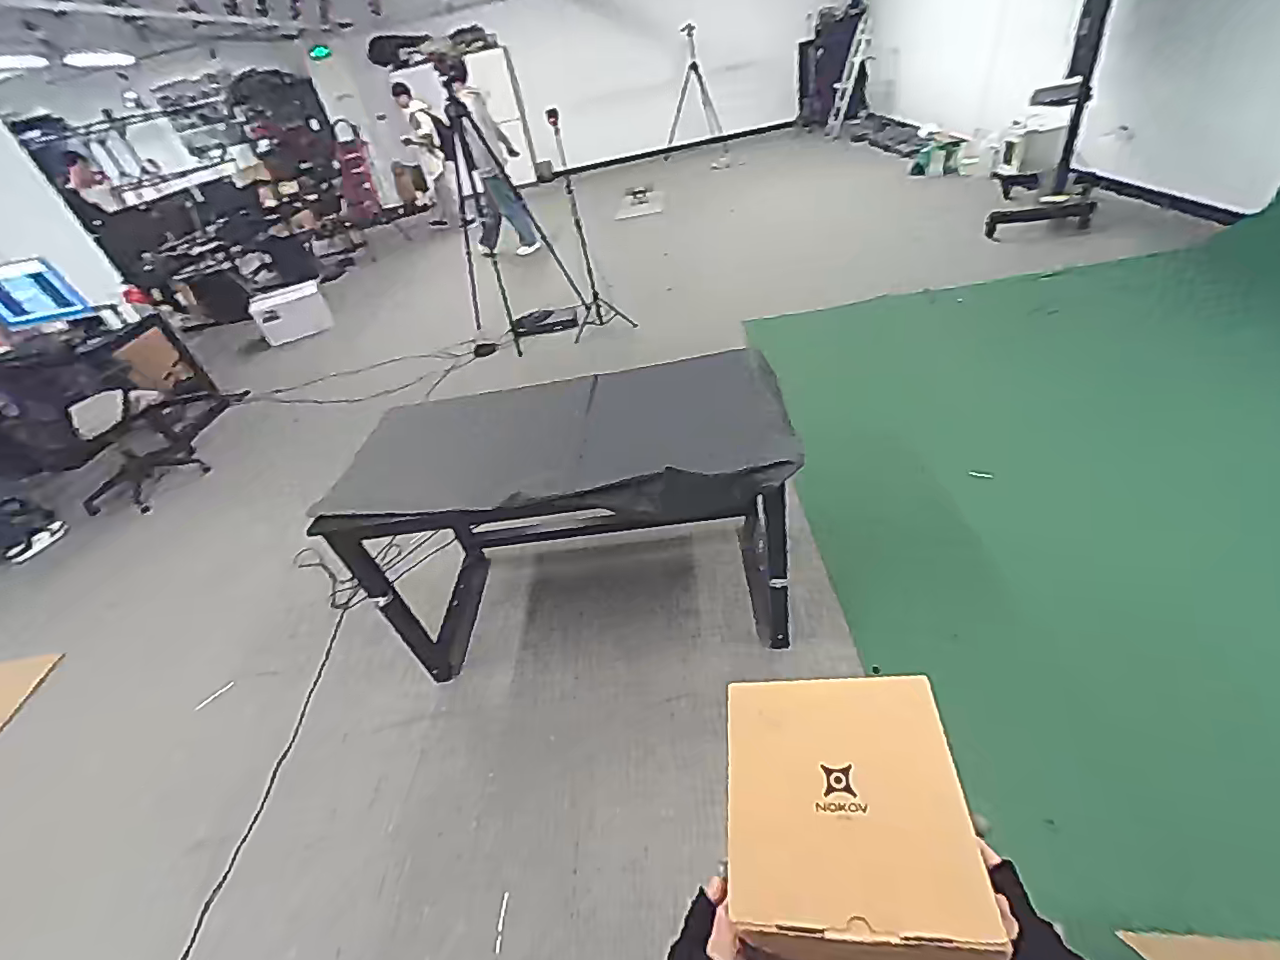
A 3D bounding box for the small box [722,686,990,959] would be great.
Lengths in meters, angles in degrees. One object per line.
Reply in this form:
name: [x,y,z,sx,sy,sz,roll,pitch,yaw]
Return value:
small box: [0.165,0.299,0.457,0.168,0.176,0.179,-8,39,15]
